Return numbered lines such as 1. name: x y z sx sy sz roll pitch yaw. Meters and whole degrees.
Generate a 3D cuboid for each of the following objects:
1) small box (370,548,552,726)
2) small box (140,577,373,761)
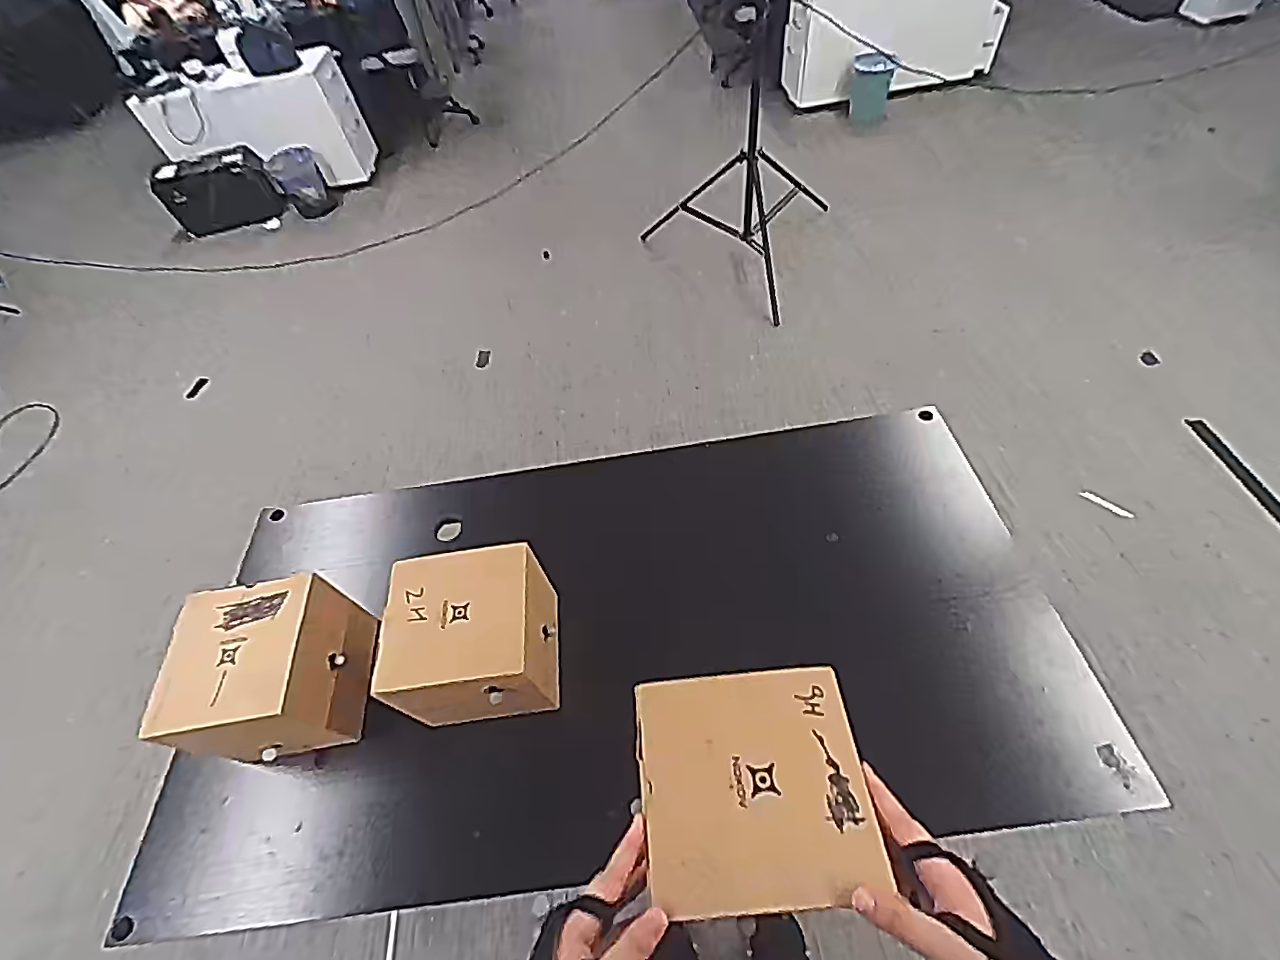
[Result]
1. small box: -0.214 0.209 0.705 0.179 0.176 0.168 -9 54 1
2. small box: -0.477 0.252 0.711 0.168 0.176 0.179 -10 55 0
